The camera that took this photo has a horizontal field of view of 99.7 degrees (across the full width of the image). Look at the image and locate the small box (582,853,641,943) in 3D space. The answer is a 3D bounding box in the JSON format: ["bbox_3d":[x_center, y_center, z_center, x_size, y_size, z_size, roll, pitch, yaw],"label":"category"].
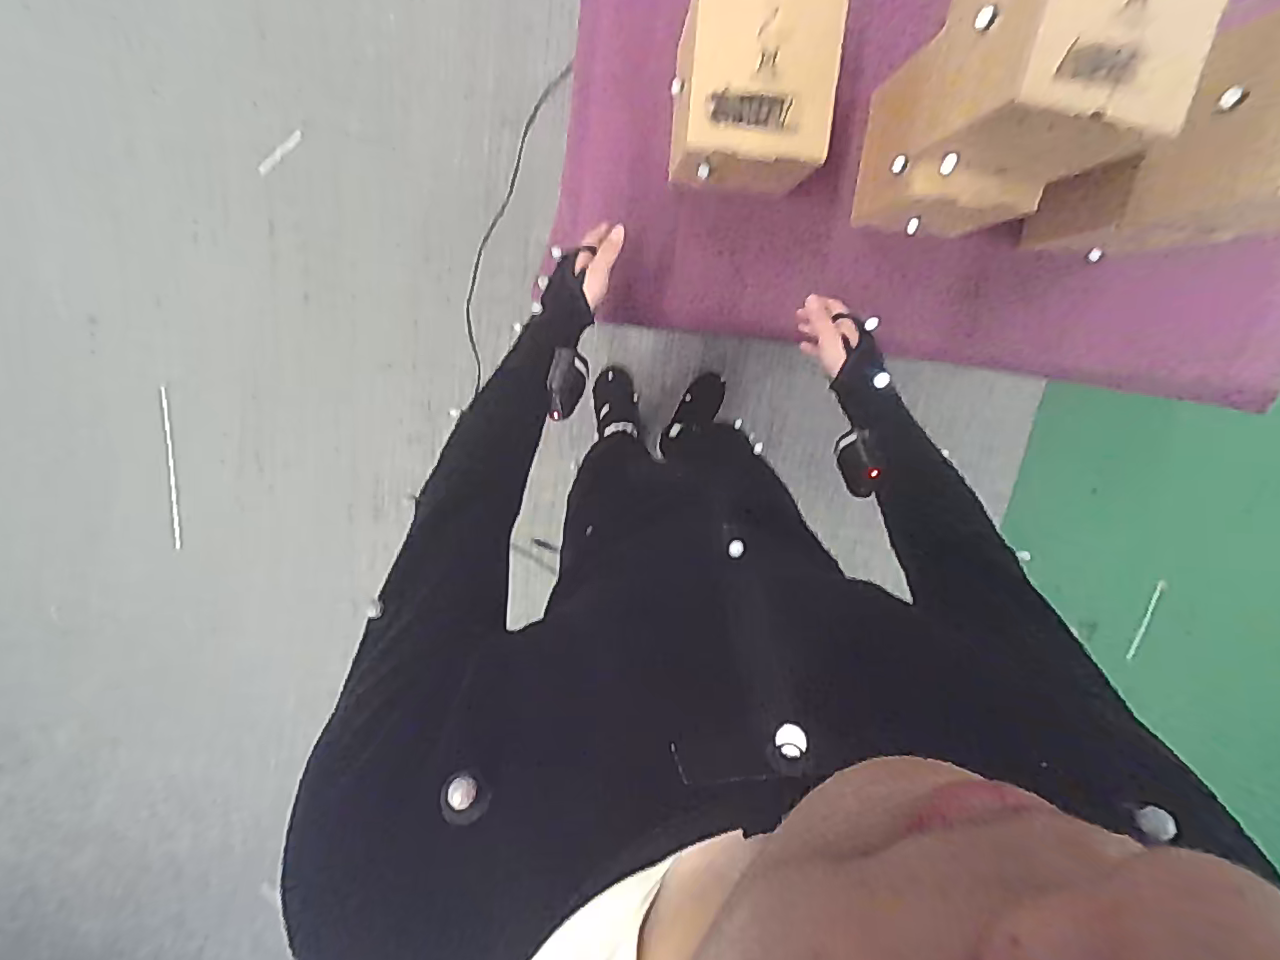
[{"bbox_3d":[-0.100,1.413,1.832,0.168,0.176,0.179,10,103,-8],"label":"small box"}]

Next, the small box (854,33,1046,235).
[{"bbox_3d":[0.403,-0.436,0.706,0.168,0.176,0.179,4,105,-6],"label":"small box"}]

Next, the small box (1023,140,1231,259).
[{"bbox_3d":[0.666,-0.411,0.732,0.168,0.176,0.179,3,104,-5],"label":"small box"}]

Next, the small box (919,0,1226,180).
[{"bbox_3d":[0.414,-0.426,0.540,0.168,0.176,0.179,8,103,-7],"label":"small box"}]

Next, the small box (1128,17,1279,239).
[{"bbox_3d":[0.680,-0.372,0.573,0.168,0.176,0.179,2,103,-5],"label":"small box"}]
